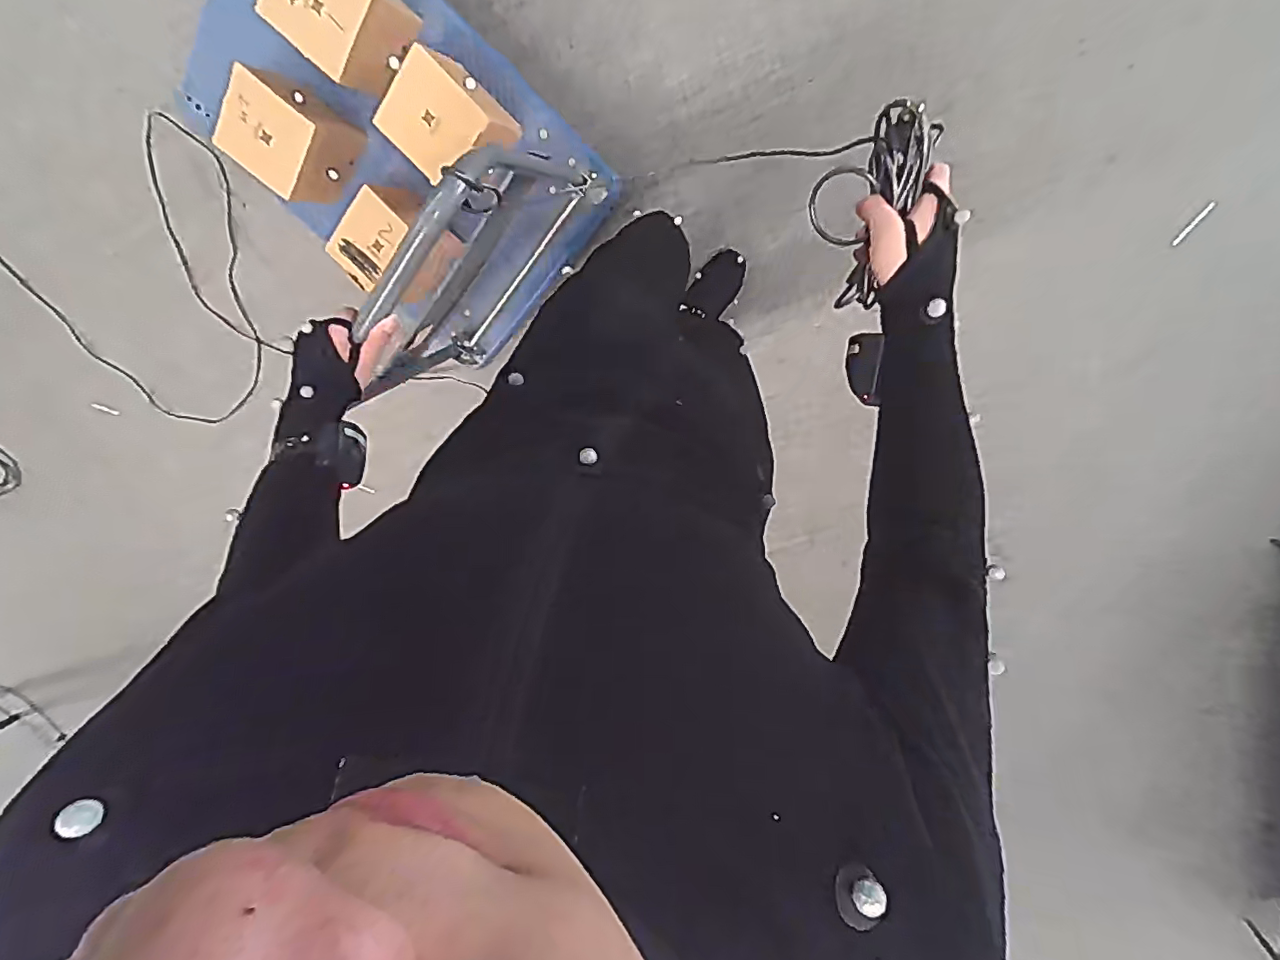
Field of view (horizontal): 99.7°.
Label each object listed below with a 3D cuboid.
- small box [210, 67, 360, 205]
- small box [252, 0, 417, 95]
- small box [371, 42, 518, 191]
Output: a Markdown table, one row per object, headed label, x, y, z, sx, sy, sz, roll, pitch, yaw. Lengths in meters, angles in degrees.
| label | x | y | z | sx | sy | sz | roll | pitch | yaw |
| --- | --- | --- | --- | --- | --- | --- | --- | --- | --- |
| small box | -0.723 | -0.699 | 1.119 | 0.179 | 0.176 | 0.168 | 38 | 115 | -9 |
| small box | -0.560 | -0.864 | 1.010 | 0.179 | 0.176 | 0.168 | 39 | 116 | -11 |
| small box | -0.375 | -0.693 | 1.062 | 0.179 | 0.176 | 0.168 | 42 | 115 | -12 |
